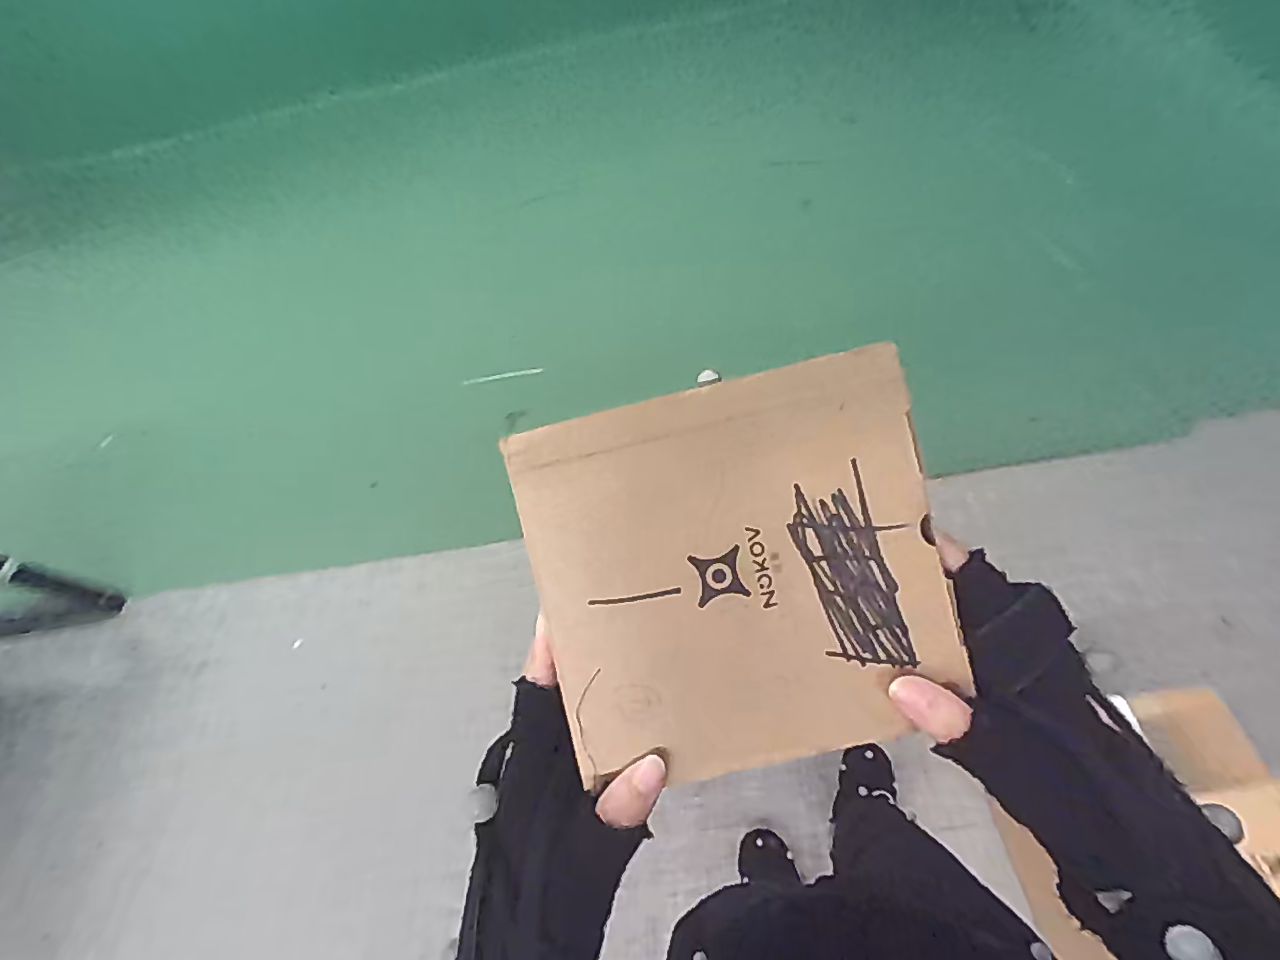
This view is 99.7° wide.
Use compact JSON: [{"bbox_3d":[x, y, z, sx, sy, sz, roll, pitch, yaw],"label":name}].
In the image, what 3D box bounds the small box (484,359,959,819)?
[{"bbox_3d":[0.036,0.046,0.316,0.179,0.176,0.168,-18,90,1],"label":"small box"}]
